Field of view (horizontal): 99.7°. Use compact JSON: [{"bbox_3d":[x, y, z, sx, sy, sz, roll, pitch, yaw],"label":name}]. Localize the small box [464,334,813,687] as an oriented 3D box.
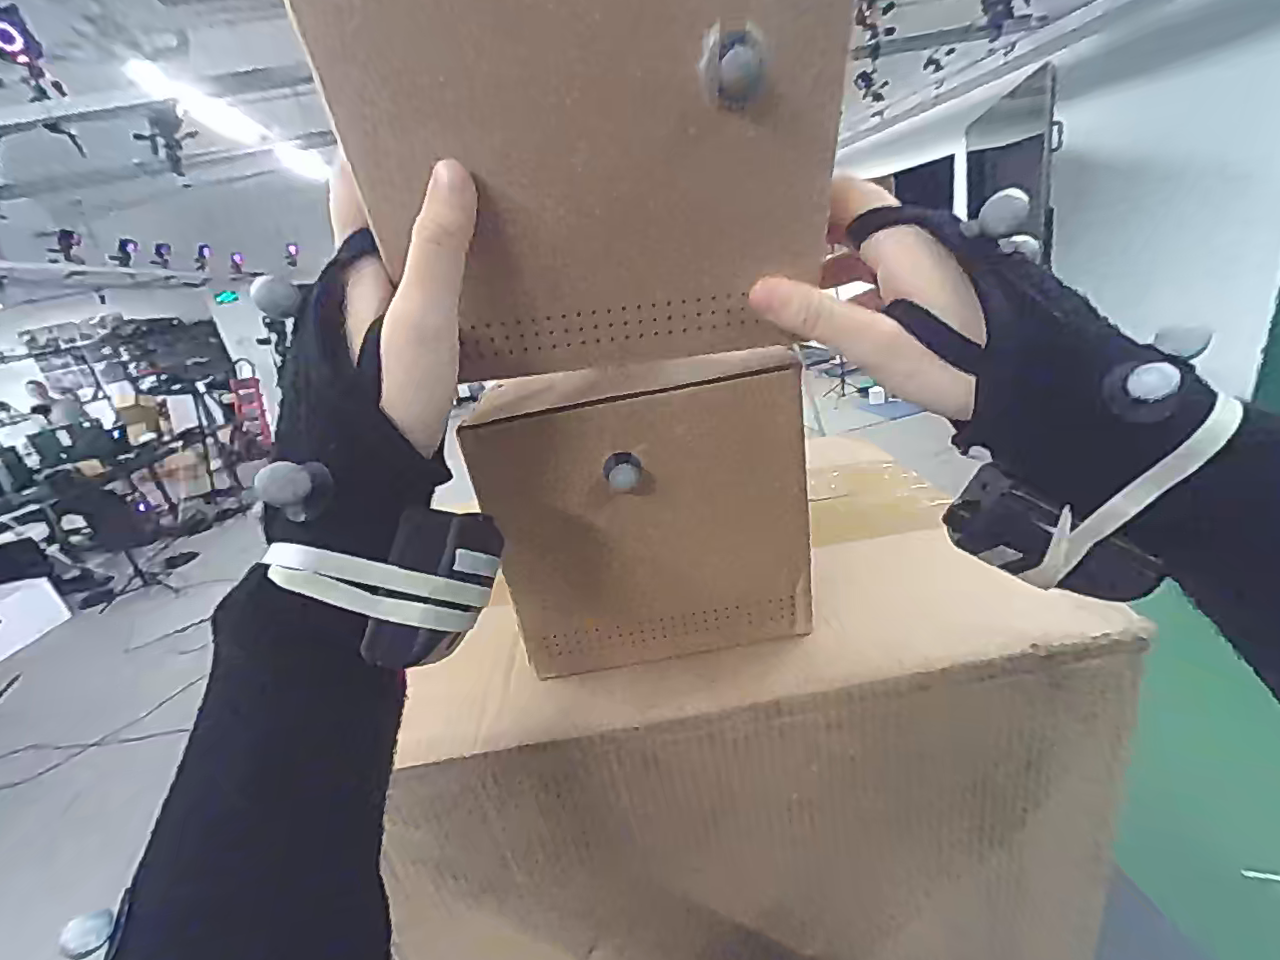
[{"bbox_3d":[0.009,0.012,0.369,0.179,0.176,0.168,-11,23,2],"label":"small box"}]
